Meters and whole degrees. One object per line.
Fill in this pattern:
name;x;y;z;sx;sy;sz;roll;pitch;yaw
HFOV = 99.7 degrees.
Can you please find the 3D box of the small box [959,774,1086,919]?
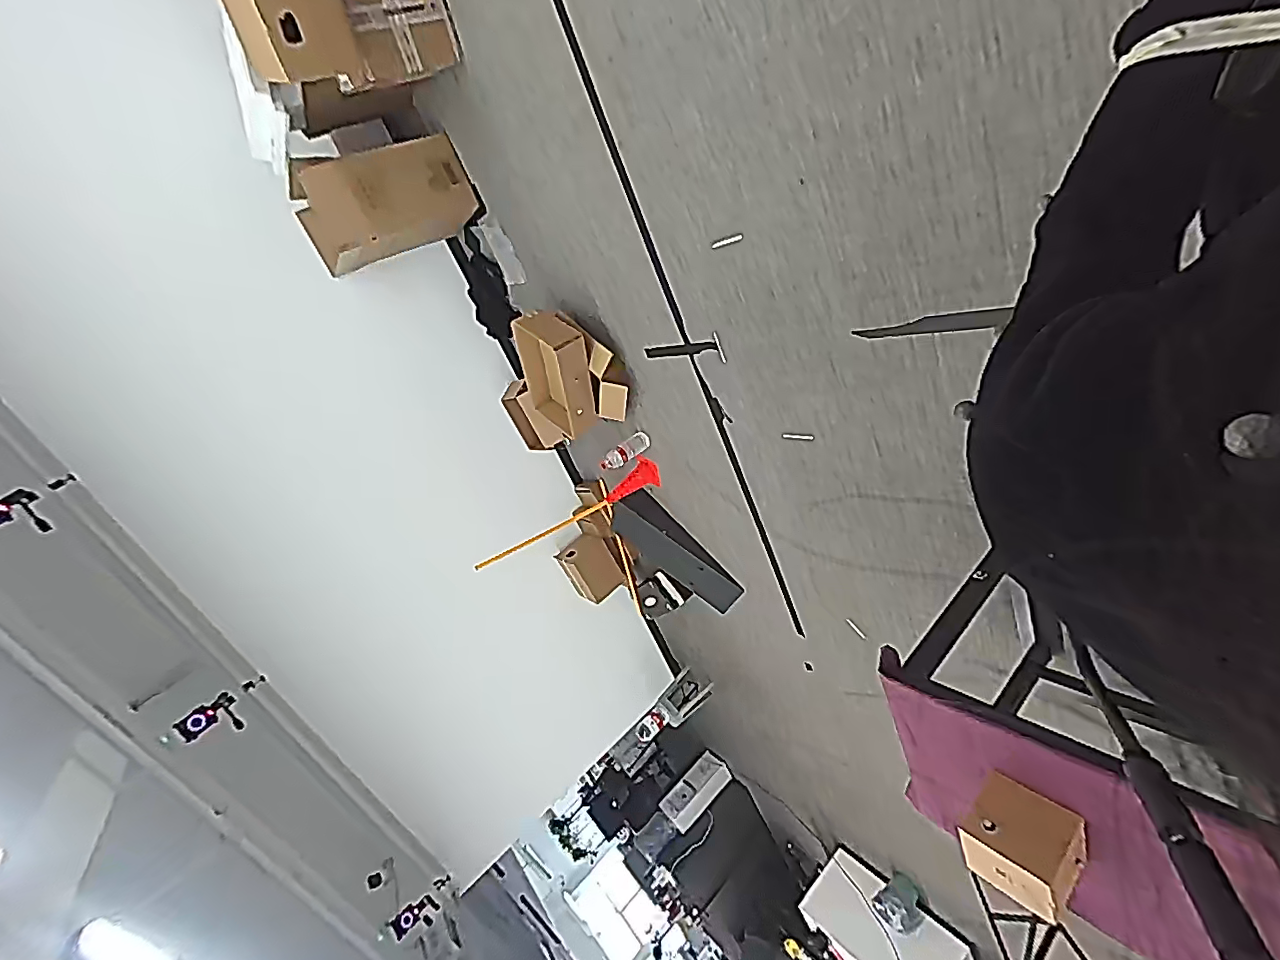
small box;0.835;0.785;1.182;0.179;0.176;0.168;14;135;53
